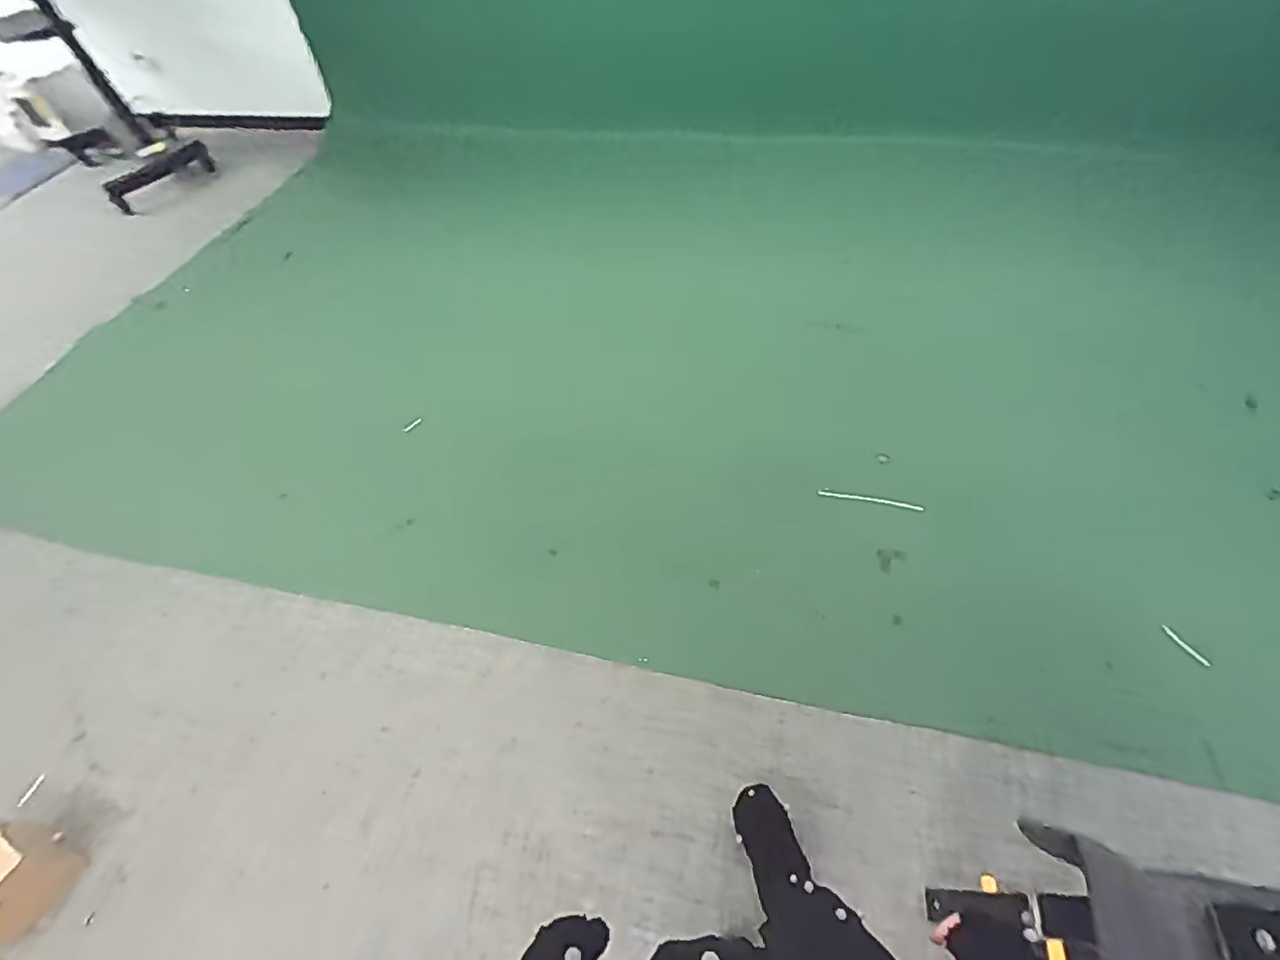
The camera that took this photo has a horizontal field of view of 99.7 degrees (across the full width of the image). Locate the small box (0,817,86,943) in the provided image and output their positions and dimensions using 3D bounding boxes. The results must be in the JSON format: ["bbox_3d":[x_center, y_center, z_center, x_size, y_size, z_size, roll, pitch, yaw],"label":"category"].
[{"bbox_3d":[-1.389,0.867,1.170,0.168,0.176,0.179,21,57,18],"label":"small box"}]
